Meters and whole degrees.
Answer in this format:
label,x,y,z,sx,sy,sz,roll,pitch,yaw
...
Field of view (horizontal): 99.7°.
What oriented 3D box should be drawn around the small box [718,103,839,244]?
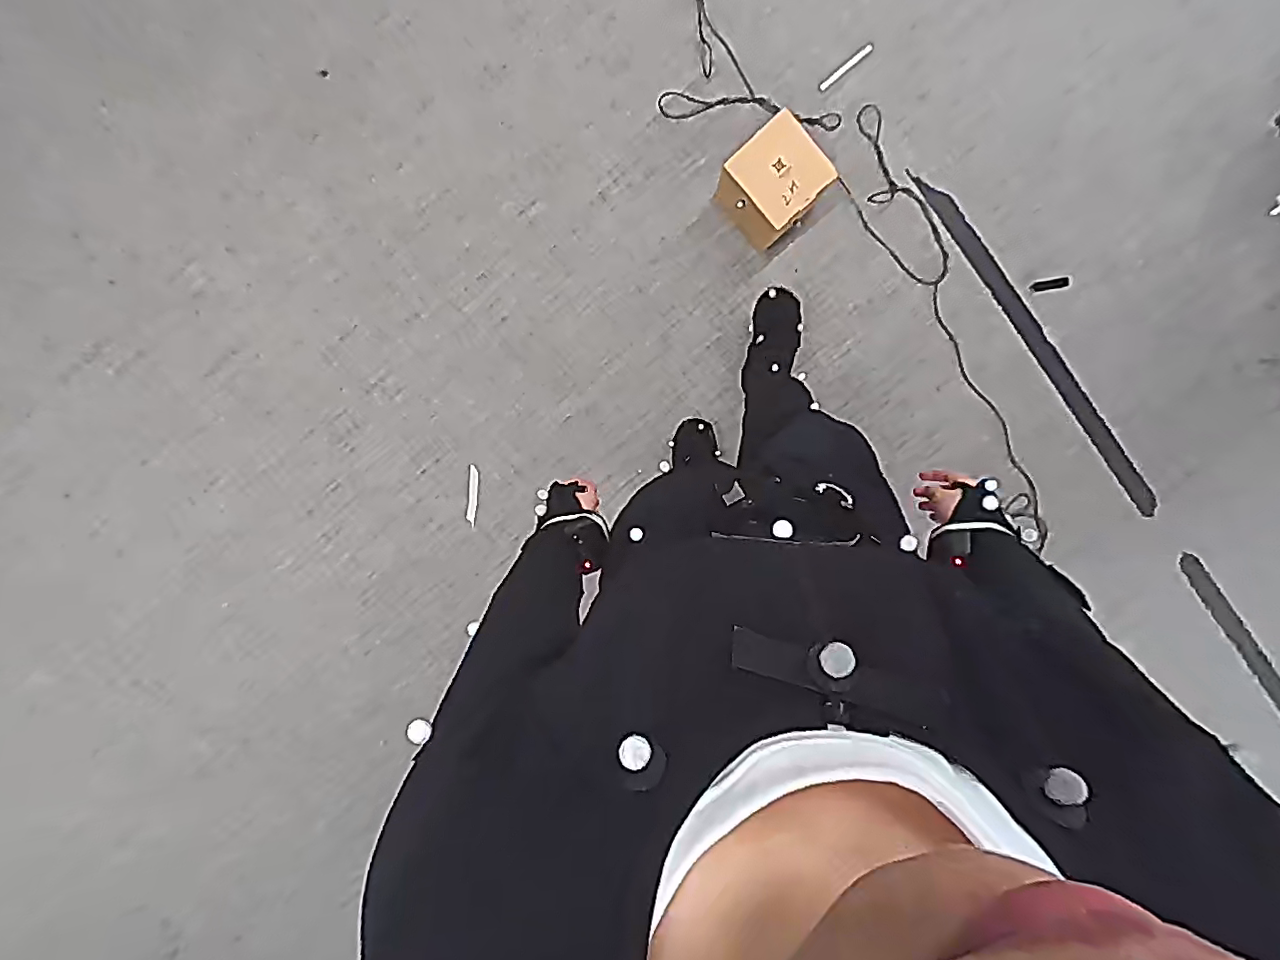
label,x,y,z,sx,sy,sz,roll,pitch,yaw
small box,0.287,-0.645,1.164,0.168,0.176,0.179,-41,96,7
